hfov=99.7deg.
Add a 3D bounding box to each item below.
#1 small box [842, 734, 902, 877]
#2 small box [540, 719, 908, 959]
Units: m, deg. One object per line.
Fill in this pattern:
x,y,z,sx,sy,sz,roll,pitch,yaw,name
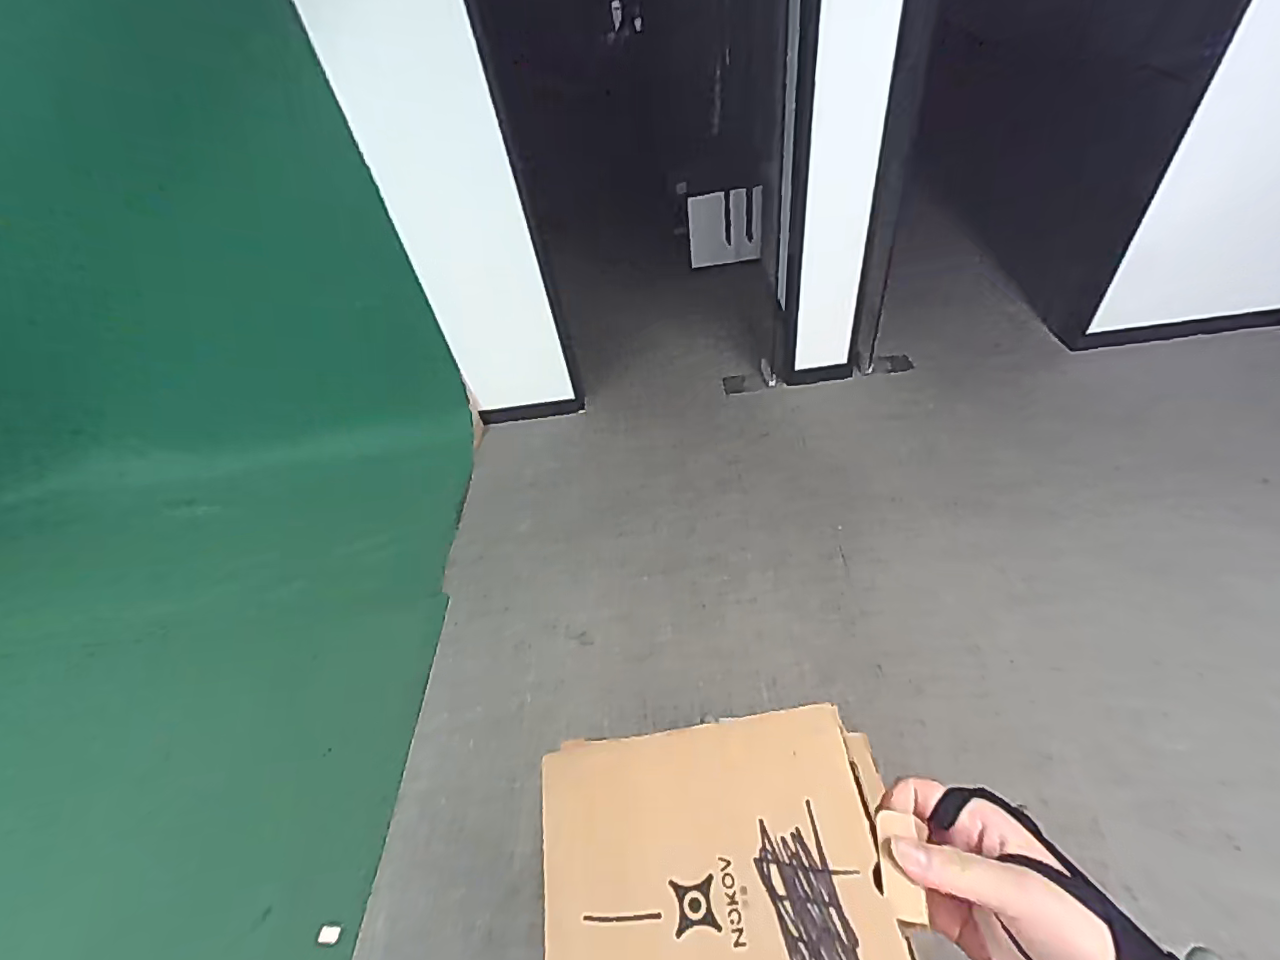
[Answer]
0.267,0.505,0.822,0.179,0.176,0.168,-8,44,6,small box
0.049,0.258,0.330,0.179,0.176,0.168,-12,54,7,small box
